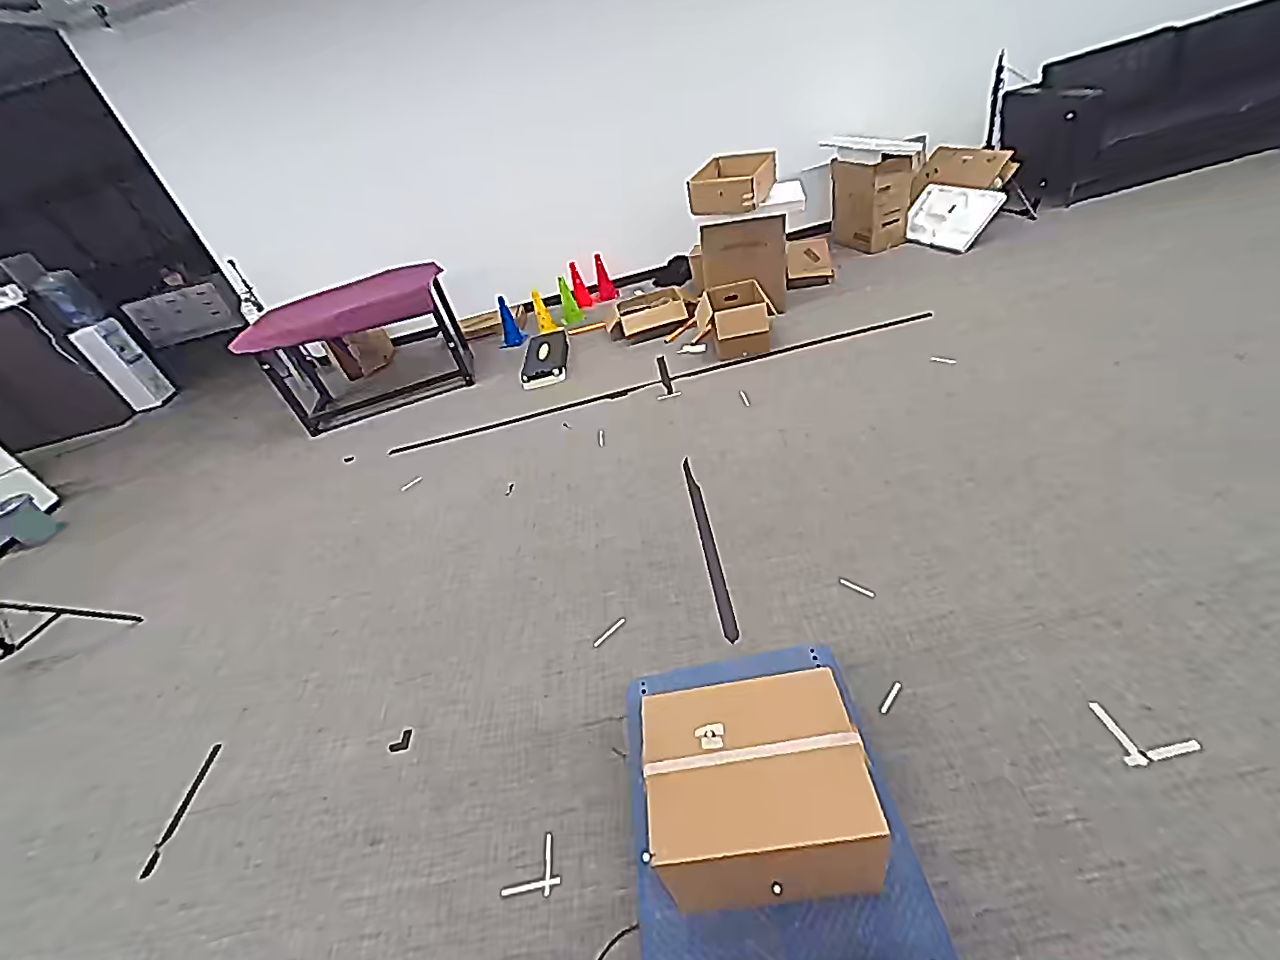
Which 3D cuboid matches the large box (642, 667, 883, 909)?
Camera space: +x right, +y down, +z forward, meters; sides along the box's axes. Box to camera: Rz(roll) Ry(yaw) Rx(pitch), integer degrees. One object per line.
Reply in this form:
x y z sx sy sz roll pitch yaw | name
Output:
0.242 0.642 1.126 0.408 0.320 0.320 -12 36 6 | large box
